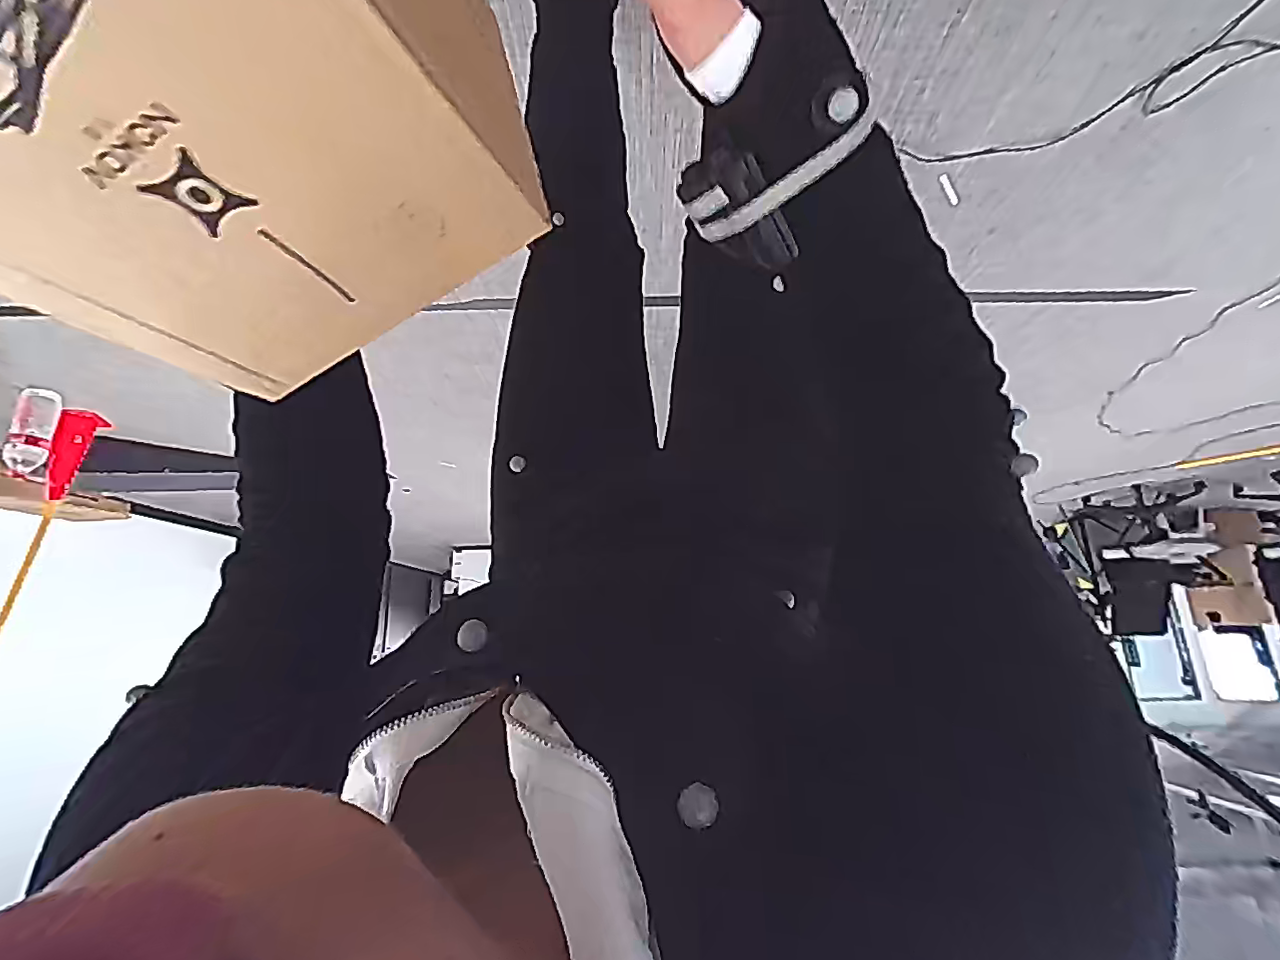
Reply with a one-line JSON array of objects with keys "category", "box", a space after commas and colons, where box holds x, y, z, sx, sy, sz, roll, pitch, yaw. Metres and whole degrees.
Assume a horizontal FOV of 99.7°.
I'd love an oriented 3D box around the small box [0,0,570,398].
[{"category": "small box", "box": [-0.151, -0.165, 0.192, 0.168, 0.176, 0.179, -23, 155, 15]}]
